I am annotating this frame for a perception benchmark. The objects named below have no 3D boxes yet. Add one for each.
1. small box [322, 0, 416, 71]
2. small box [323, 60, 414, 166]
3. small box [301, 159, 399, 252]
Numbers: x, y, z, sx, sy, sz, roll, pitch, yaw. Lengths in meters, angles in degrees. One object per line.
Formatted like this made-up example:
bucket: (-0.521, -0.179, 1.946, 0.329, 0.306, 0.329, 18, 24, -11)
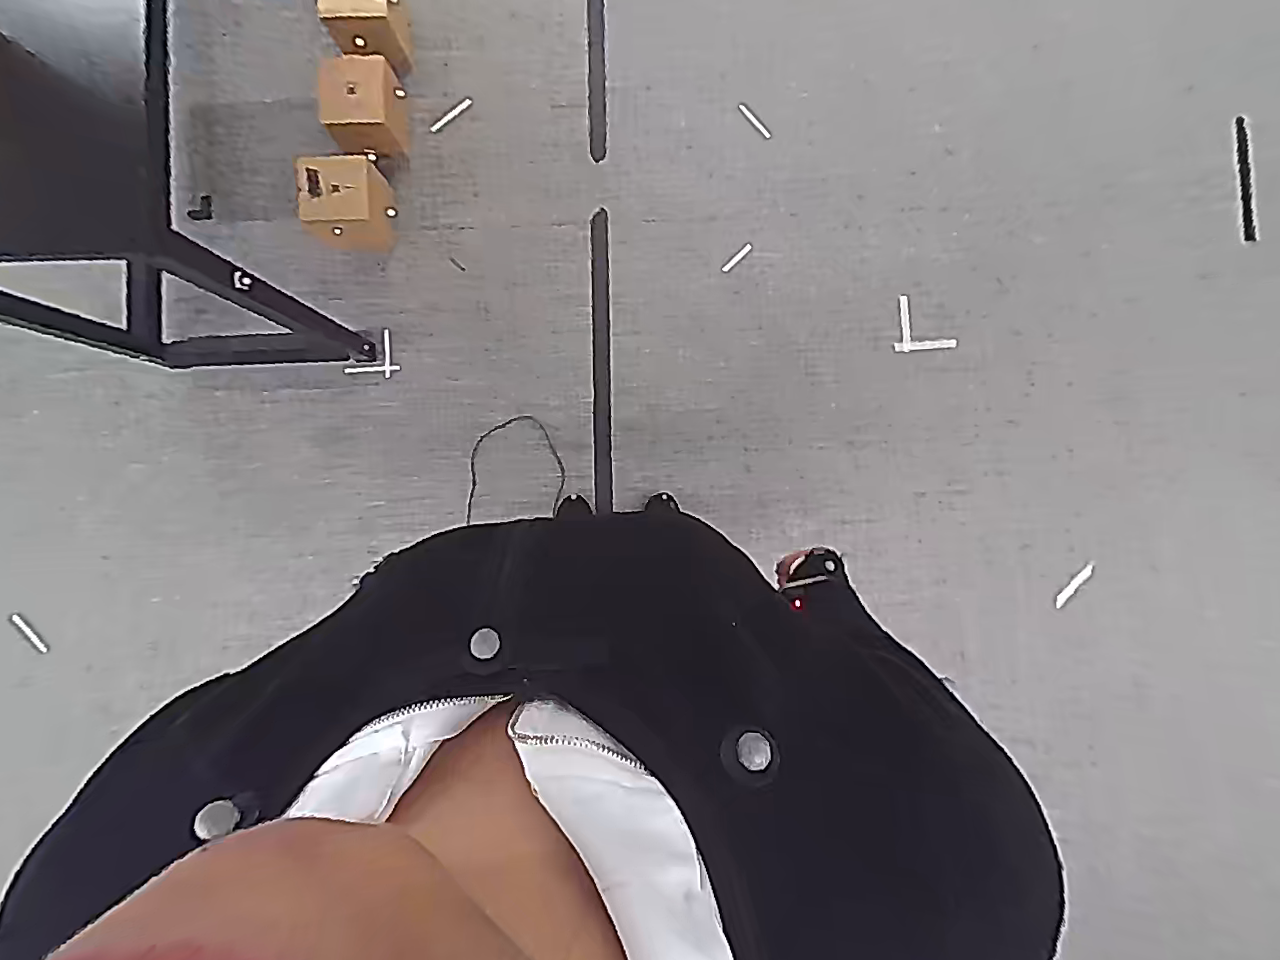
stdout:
small box: (-0.726, -1.244, 1.459, 0.179, 0.176, 0.168, -2, 89, 0)
small box: (-0.723, -0.981, 1.455, 0.168, 0.176, 0.179, -2, 89, 1)
small box: (-0.770, -0.727, 1.447, 0.179, 0.176, 0.168, -2, 89, -1)
